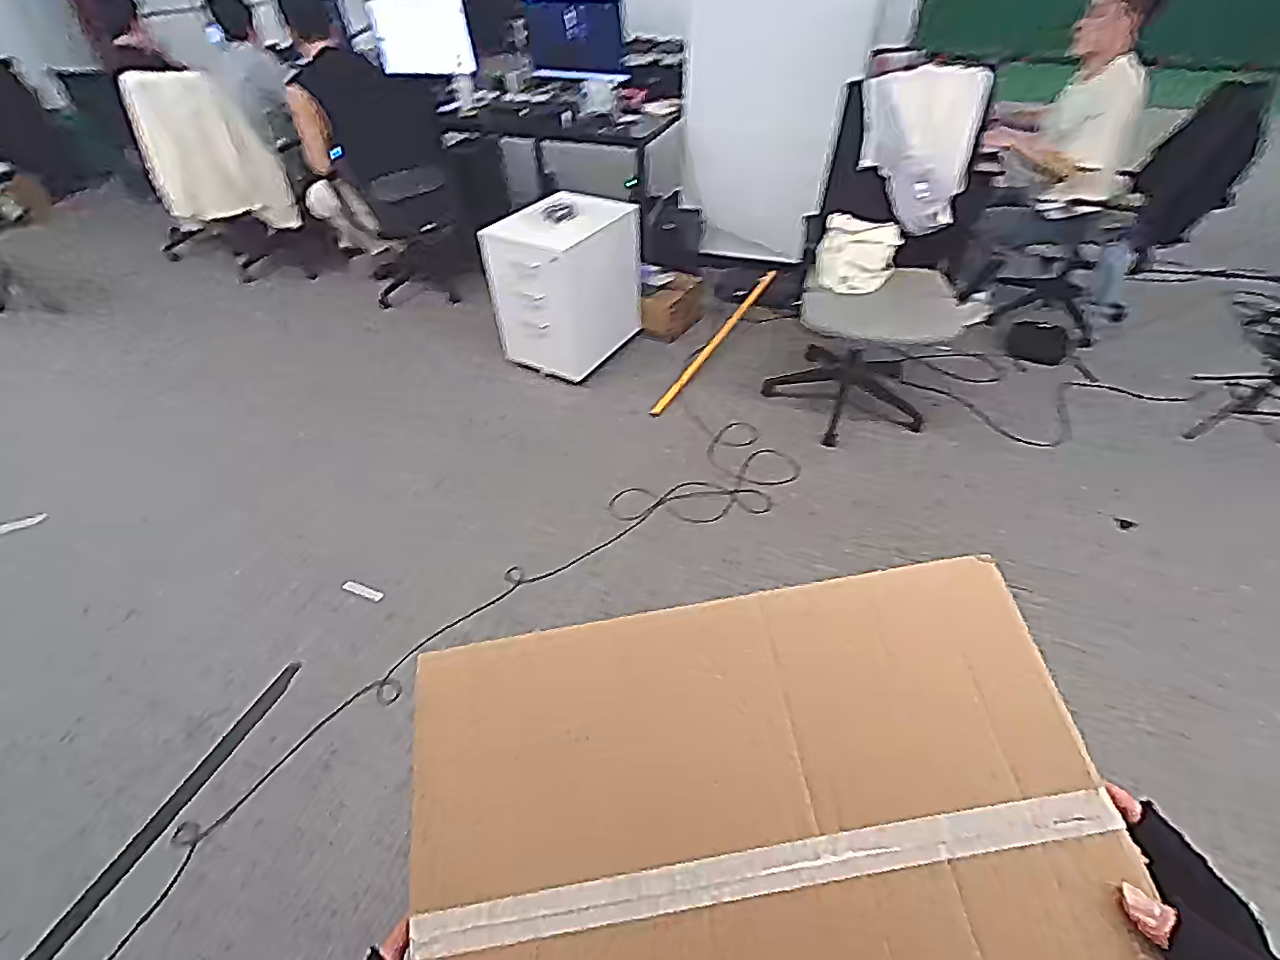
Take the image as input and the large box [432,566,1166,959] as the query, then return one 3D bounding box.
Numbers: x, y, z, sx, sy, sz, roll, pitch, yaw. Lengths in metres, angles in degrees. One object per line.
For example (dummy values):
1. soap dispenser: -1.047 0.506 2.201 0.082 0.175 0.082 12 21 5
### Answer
1. large box: 0.083 0.300 0.449 0.408 0.320 0.320 -11 64 -1
